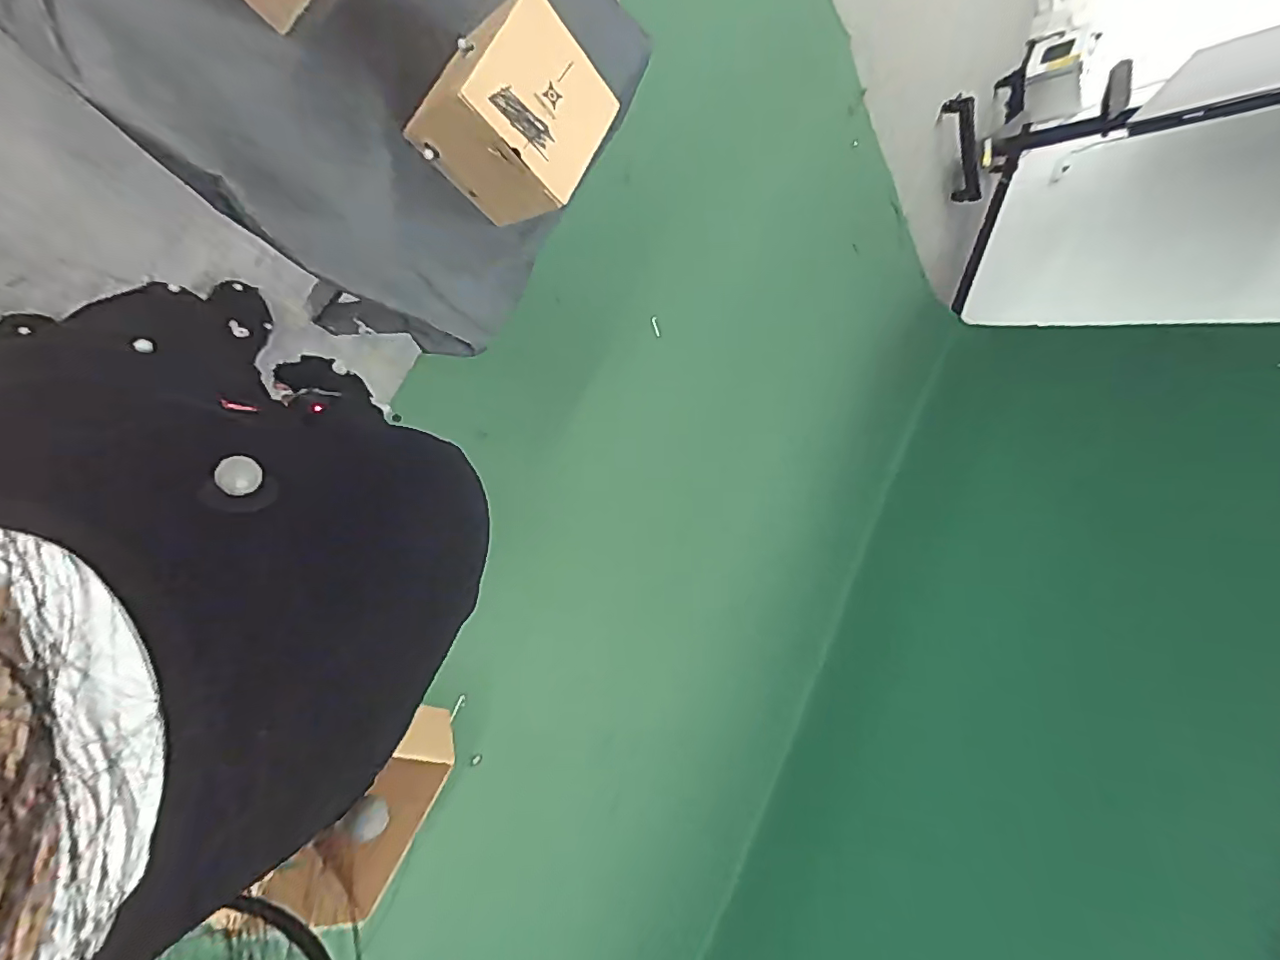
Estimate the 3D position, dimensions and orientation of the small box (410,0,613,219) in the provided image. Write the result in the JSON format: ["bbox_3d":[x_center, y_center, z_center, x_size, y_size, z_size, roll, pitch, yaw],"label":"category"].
[{"bbox_3d":[-0.174,-0.478,0.714,0.168,0.176,0.179,36,75,-44],"label":"small box"}]

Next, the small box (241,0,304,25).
[{"bbox_3d":[-0.356,-0.592,0.505,0.168,0.176,0.179,37,74,-43],"label":"small box"}]
